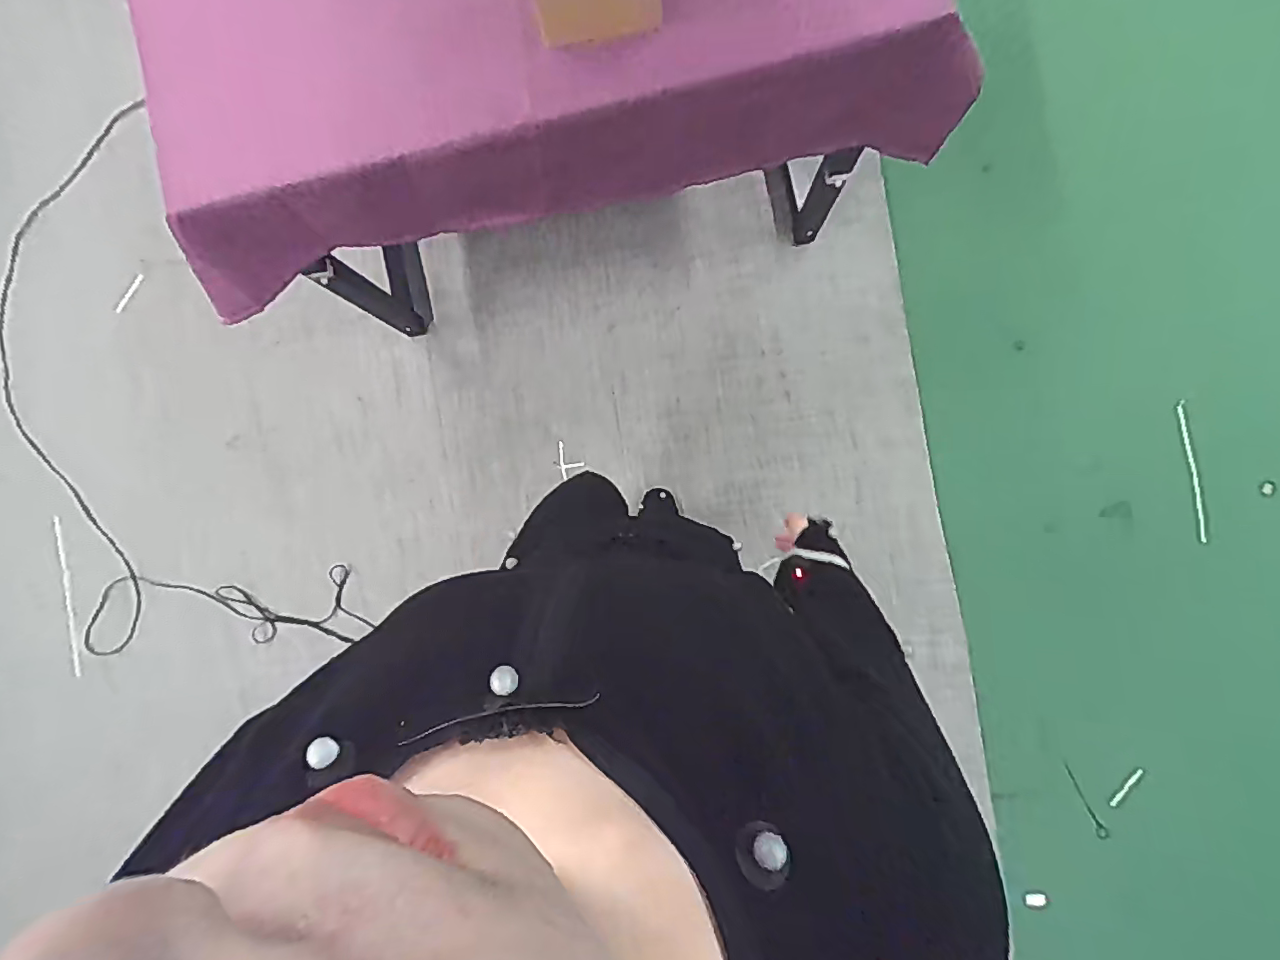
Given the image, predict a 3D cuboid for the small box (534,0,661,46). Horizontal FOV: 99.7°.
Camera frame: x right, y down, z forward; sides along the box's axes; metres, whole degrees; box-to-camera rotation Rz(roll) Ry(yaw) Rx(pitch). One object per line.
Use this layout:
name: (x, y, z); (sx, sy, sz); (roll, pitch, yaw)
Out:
small box: (-0.069, -0.736, 0.731); (0.179, 0.176, 0.168); (-7, 88, 4)
